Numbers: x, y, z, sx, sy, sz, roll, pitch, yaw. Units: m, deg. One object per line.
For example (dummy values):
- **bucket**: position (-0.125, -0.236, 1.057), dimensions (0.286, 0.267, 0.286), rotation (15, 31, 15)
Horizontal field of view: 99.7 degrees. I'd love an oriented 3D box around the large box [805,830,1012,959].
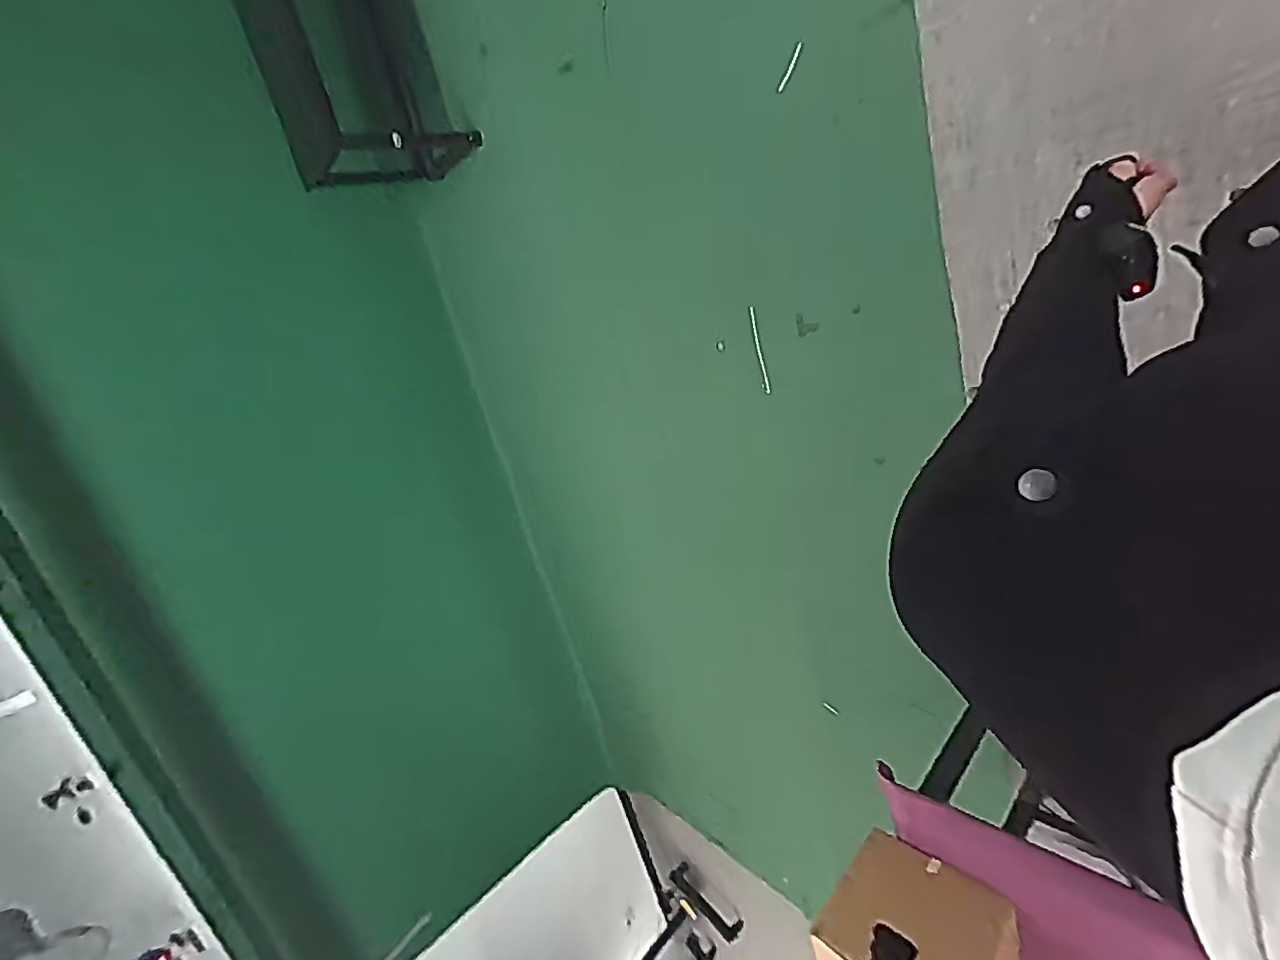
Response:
- **large box**: position (0.622, 1.125, 1.219), dimensions (0.320, 0.320, 0.408), rotation (2, 113, 48)
